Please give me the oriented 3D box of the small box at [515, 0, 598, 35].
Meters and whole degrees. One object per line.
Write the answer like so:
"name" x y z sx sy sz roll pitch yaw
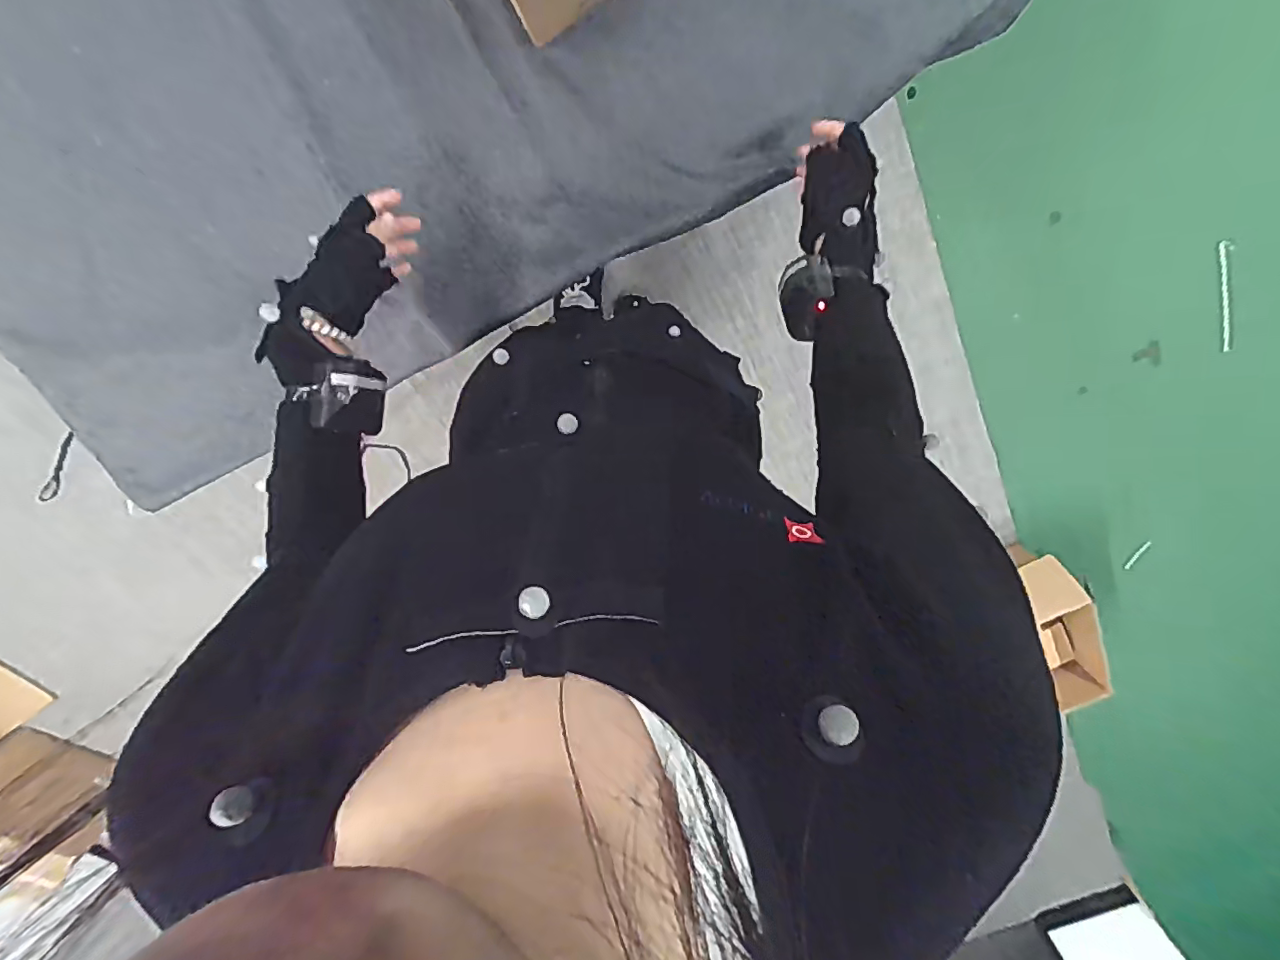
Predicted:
"small box" -0.073 -0.511 0.423 0.168 0.176 0.179 -29 112 11
